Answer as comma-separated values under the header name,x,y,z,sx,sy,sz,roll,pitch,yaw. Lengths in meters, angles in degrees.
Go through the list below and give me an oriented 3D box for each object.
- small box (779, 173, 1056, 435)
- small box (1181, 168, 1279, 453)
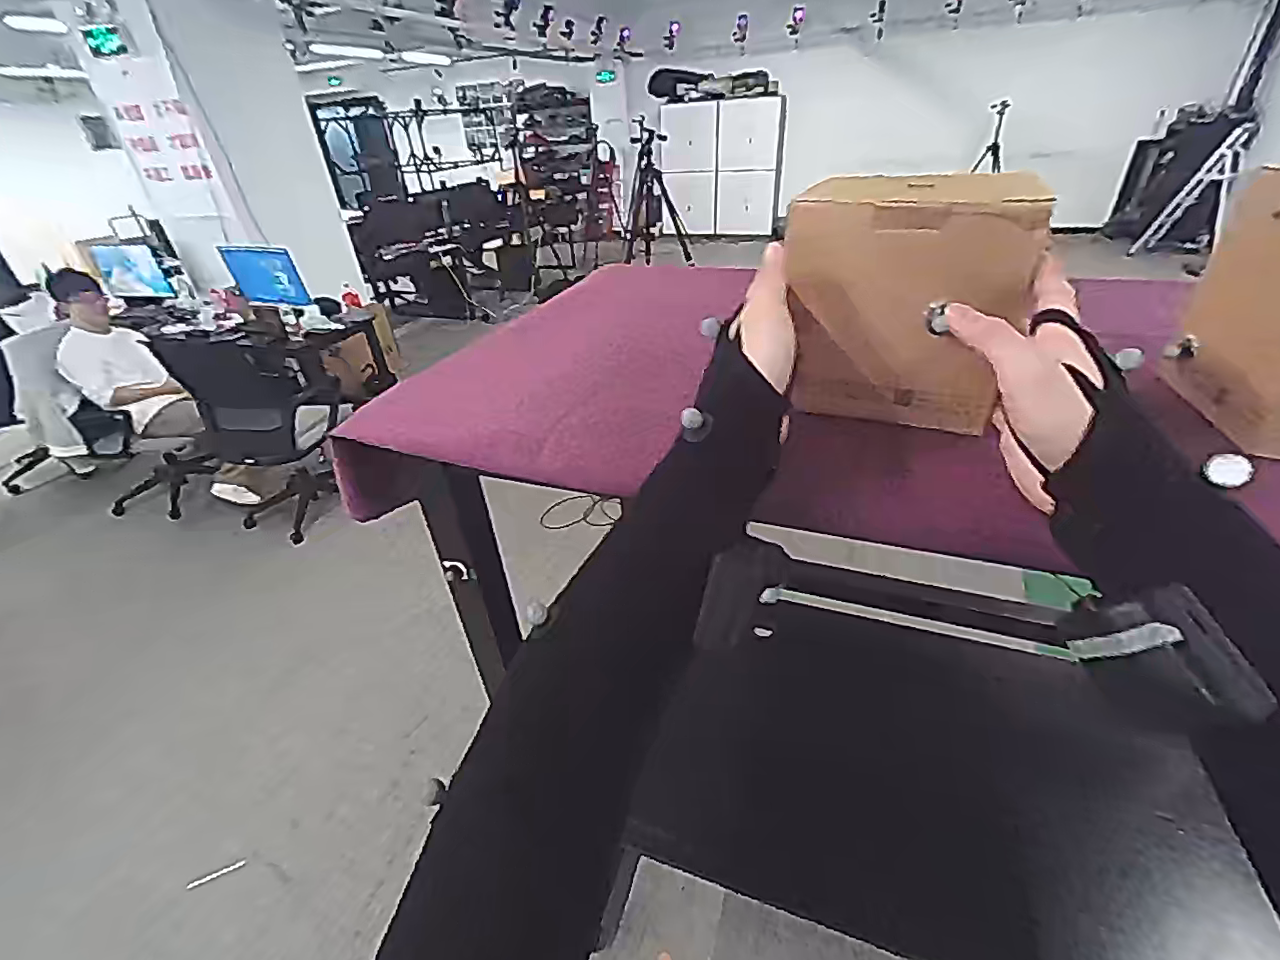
name,x,y,z,sx,sy,sz,roll,pitch,yaw
small box,0.223,-0.155,0.462,0.168,0.176,0.179,14,37,24
small box,0.522,-0.110,0.360,0.179,0.176,0.168,9,35,18
